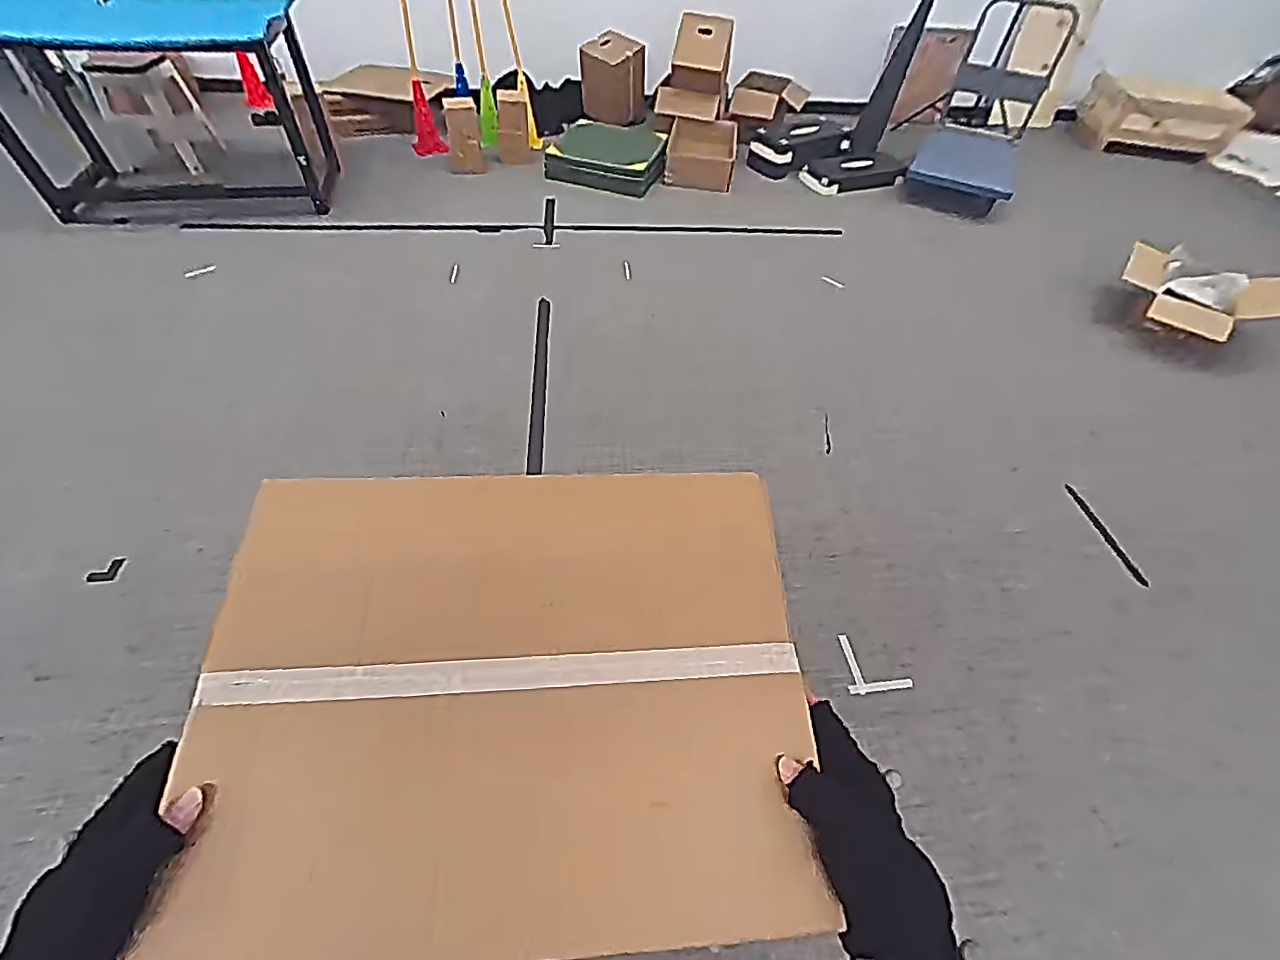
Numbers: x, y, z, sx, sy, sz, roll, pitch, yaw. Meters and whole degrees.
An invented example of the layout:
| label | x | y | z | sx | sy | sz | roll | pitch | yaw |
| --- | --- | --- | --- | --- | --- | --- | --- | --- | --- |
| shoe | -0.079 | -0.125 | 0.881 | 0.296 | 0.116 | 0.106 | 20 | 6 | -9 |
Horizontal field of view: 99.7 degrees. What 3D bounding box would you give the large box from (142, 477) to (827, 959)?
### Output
| label | x | y | z | sx | sy | sz | roll | pitch | yaw |
| --- | --- | --- | --- | --- | --- | --- | --- | --- | --- |
| large box | -0.099 | 0.208 | 0.513 | 0.408 | 0.320 | 0.320 | -1 | 62 | -5 |
